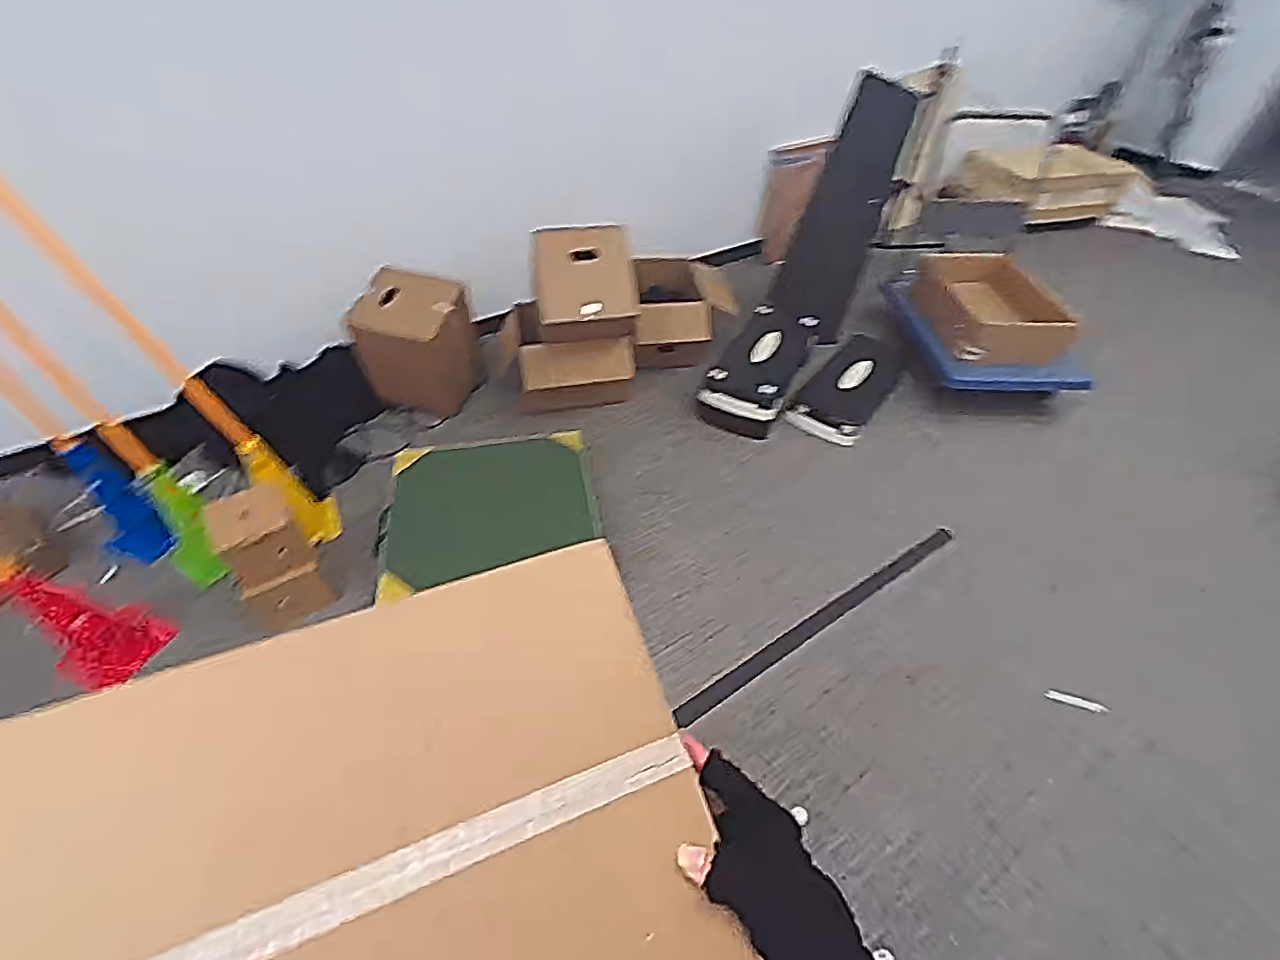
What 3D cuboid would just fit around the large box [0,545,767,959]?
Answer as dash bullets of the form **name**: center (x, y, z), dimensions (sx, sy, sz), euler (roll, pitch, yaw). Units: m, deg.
- **large box**: center (-0.171, 0.302, 0.434), dimensions (0.408, 0.320, 0.320), euler (-16, 65, -15)
